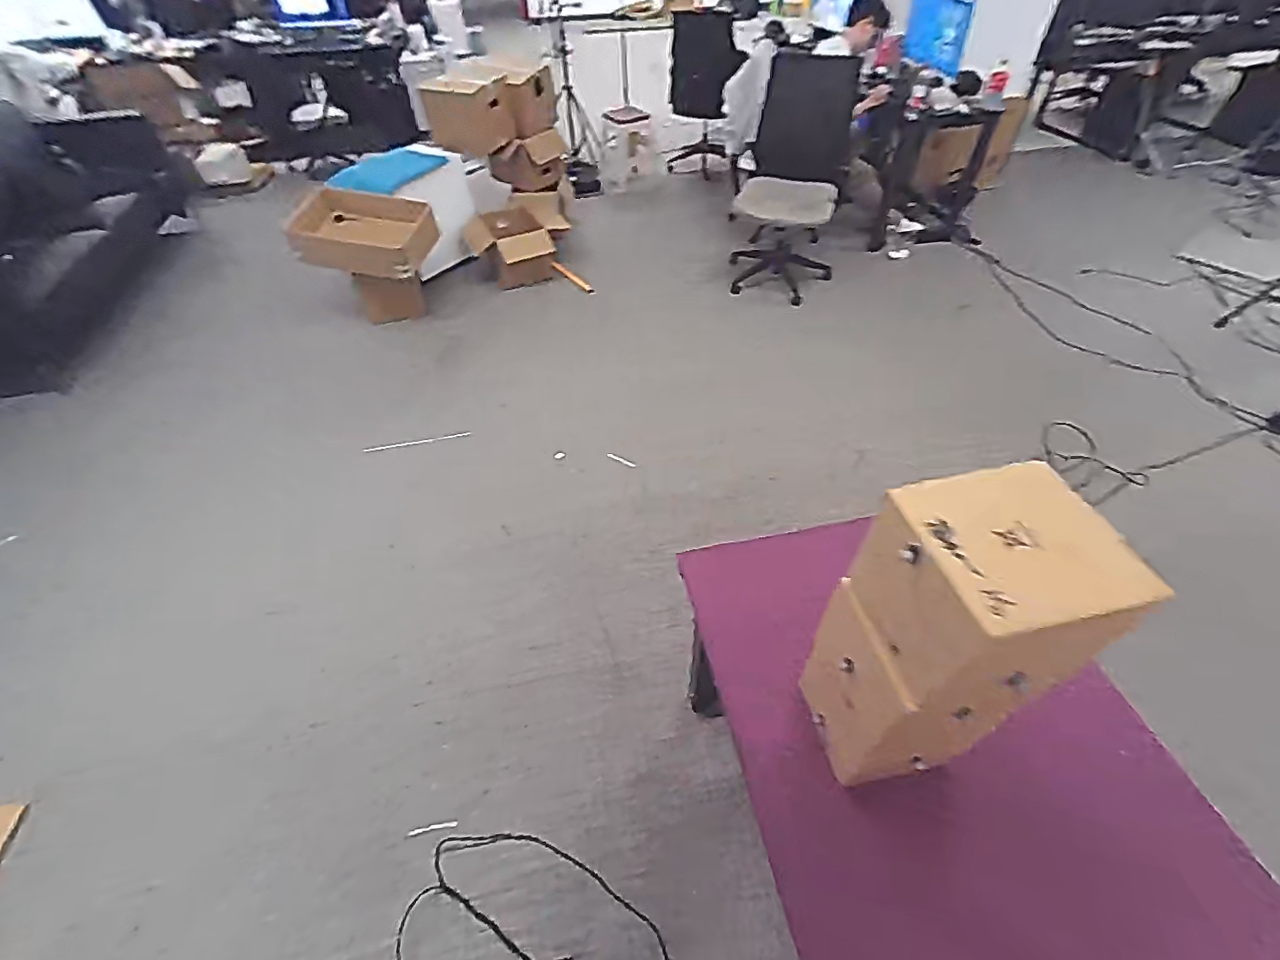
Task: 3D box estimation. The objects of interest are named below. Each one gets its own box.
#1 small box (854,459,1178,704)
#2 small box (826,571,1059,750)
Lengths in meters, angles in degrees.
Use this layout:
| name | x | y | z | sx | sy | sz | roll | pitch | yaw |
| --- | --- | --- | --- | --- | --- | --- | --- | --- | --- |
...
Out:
| name | x | y | z | sx | sy | sz | roll | pitch | yaw |
| --- | --- | --- | --- | --- | --- | --- | --- | --- | --- |
| small box | 0.351 | 0.105 | 0.550 | 0.179 | 0.176 | 0.168 | -10 | 48 | -6 |
| small box | 0.348 | 0.215 | 0.672 | 0.179 | 0.176 | 0.168 | -9 | 49 | -5 |
